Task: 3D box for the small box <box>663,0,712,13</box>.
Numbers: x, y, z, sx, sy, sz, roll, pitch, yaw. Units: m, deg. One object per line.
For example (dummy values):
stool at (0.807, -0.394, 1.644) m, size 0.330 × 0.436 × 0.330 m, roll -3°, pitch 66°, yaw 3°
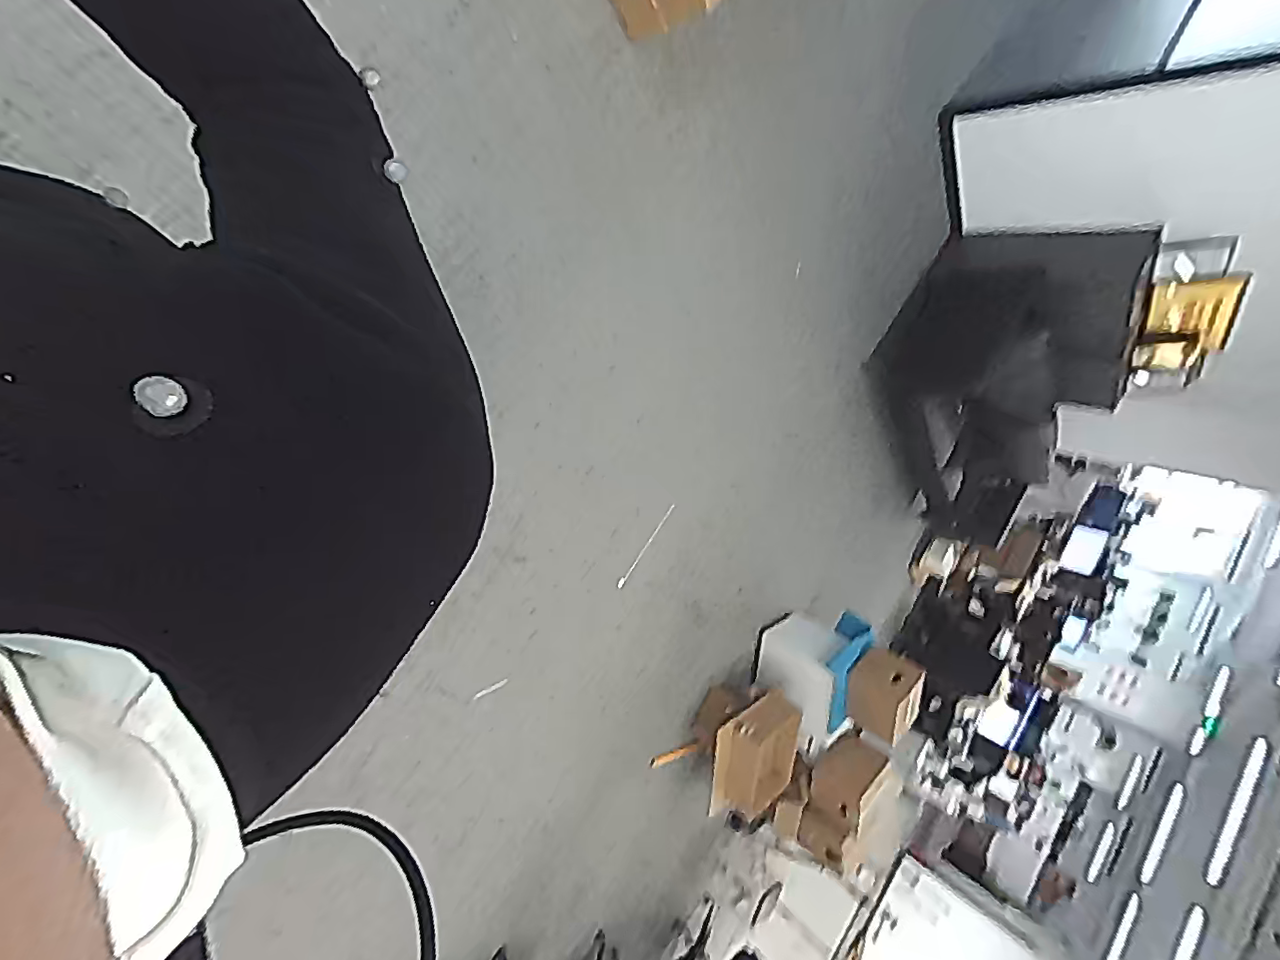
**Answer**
small box at (0.149, -1.468, 1.525) m, size 0.168 × 0.176 × 0.179 m, roll -54°, pitch 135°, yaw -14°
